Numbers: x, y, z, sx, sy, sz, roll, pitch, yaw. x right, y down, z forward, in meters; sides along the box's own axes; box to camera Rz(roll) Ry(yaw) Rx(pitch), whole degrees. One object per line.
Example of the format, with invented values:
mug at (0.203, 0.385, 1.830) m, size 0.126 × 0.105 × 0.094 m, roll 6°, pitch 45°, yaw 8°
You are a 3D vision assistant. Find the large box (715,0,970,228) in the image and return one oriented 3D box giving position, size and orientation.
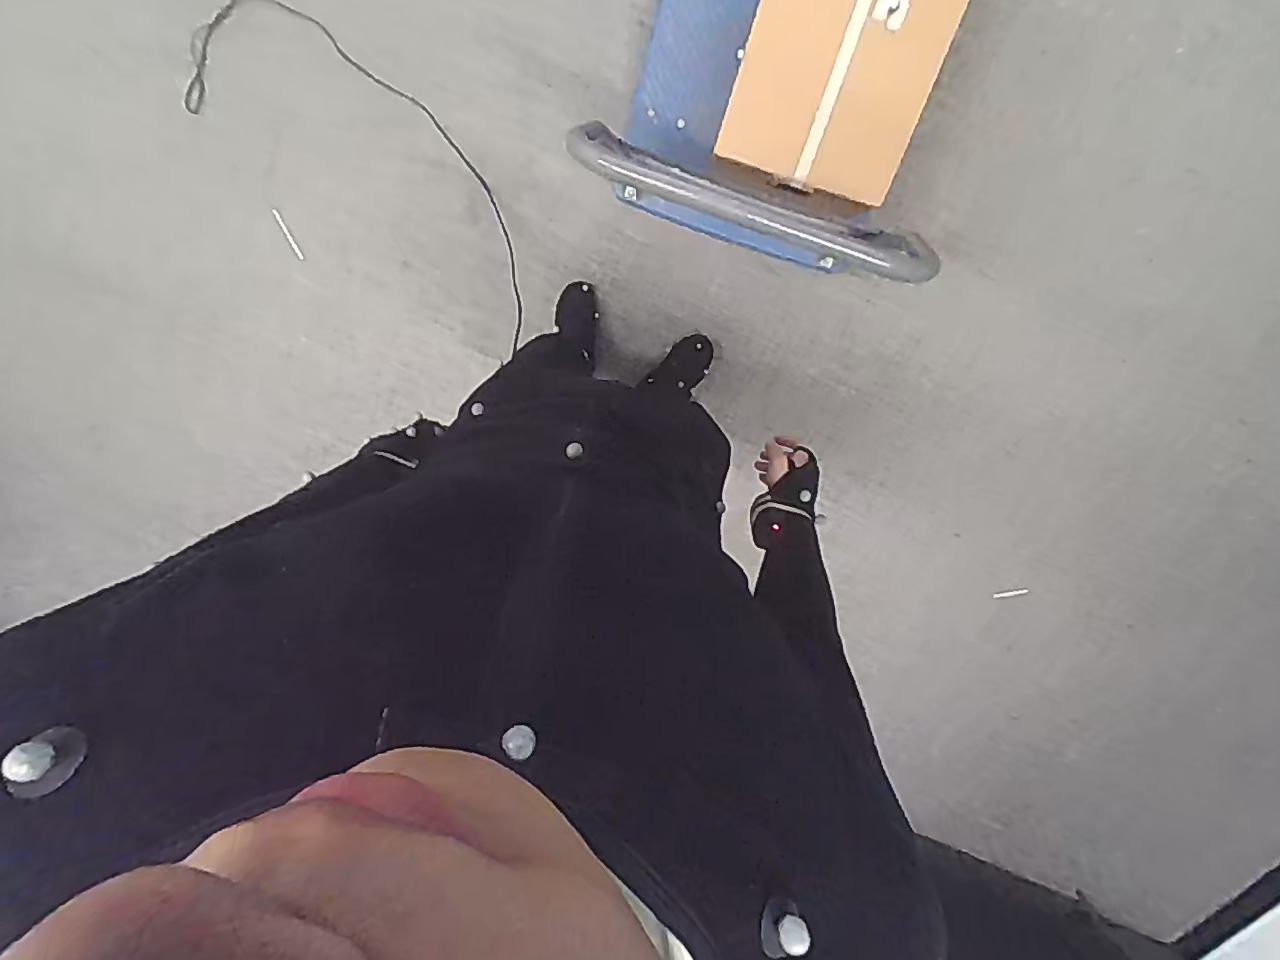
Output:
large box at (0.352, -0.744, 1.025) m, size 0.320 × 0.320 × 0.408 m, roll 18°, pitch 110°, yaw -2°
